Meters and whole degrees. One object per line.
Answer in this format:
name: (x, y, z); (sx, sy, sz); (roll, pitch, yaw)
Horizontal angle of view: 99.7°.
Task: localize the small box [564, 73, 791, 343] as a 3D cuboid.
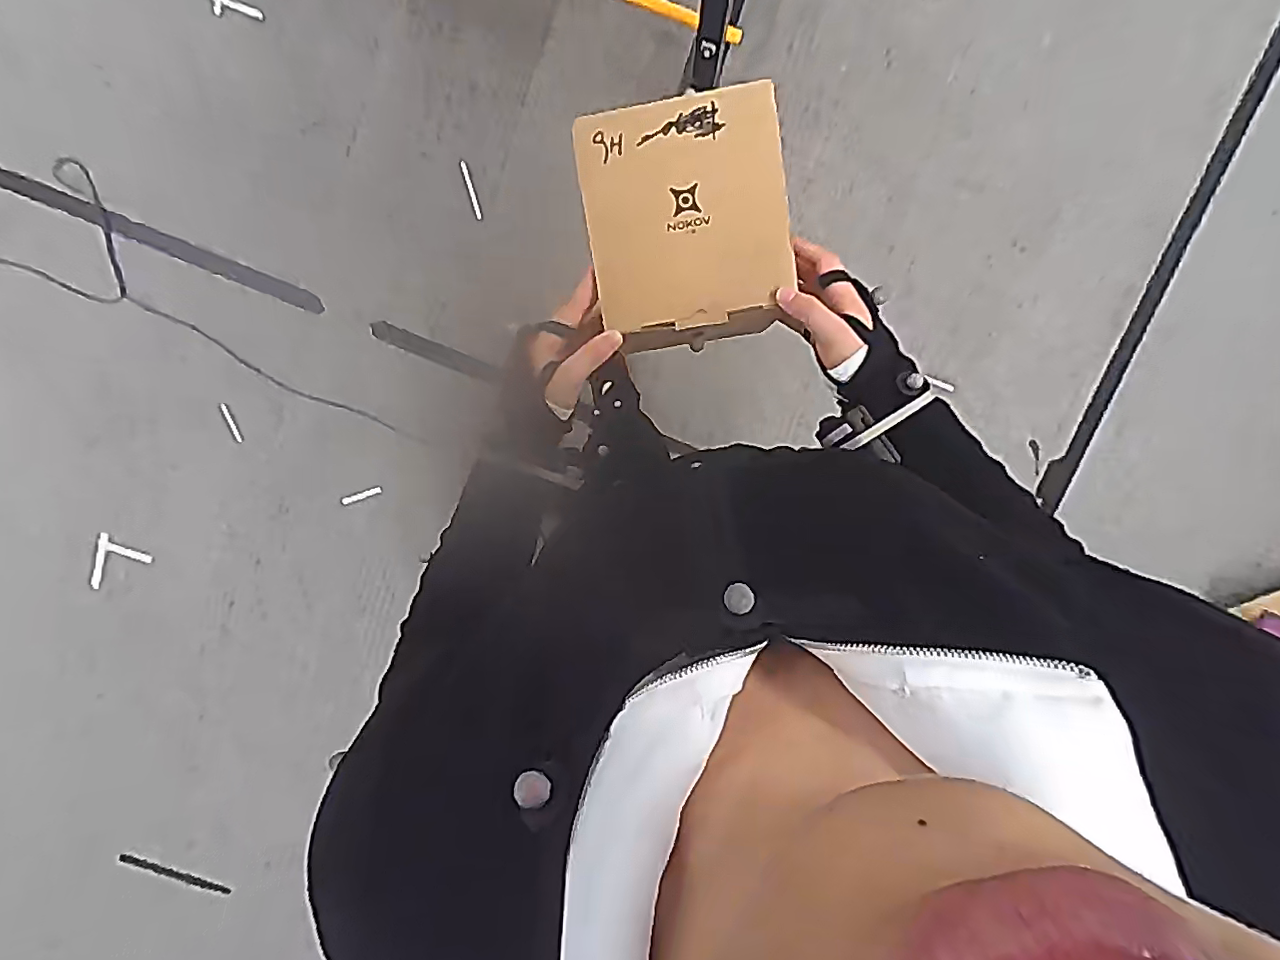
small box: (0.037, -0.232, 0.515); (0.168, 0.176, 0.179); (-9, 98, 4)
